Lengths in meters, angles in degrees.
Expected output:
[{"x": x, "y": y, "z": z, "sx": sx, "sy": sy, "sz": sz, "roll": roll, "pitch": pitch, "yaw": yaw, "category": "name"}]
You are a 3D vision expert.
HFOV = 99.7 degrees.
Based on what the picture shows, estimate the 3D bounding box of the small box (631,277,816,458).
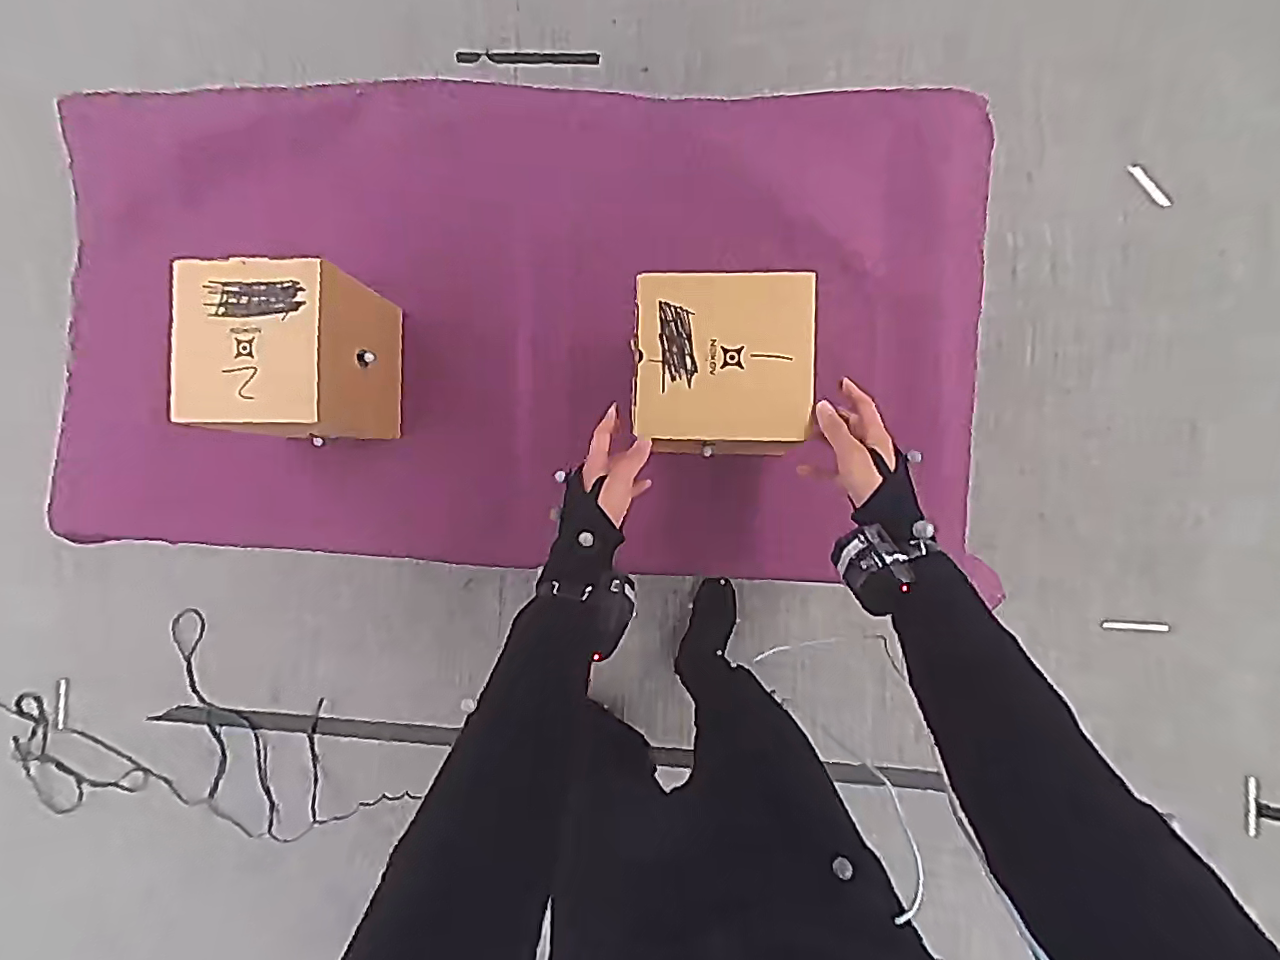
[{"x": 0.087, "y": -0.113, "z": 0.605, "sx": 0.179, "sy": 0.176, "sz": 0.168, "roll": 2, "pitch": 89, "yaw": 4, "category": "small box"}]
